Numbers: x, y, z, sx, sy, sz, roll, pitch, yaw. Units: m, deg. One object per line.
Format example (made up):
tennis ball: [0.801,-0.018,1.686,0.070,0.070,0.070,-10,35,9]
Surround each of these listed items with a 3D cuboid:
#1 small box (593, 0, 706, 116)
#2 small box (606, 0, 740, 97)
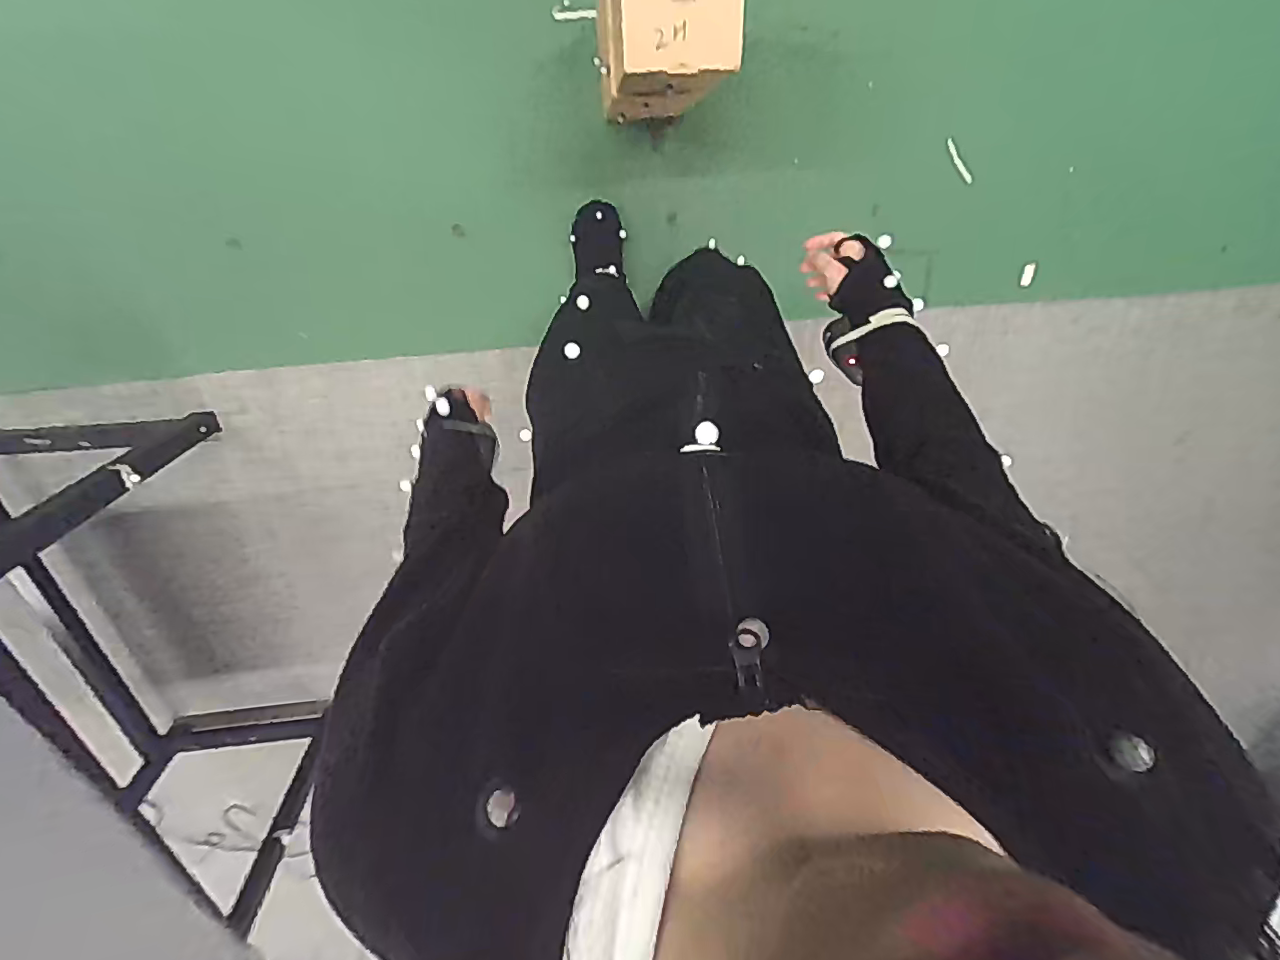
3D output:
small box: [0.013,-0.738,0.918,0.168,0.176,0.179,-7,118,-5]
small box: [0.040,-0.667,0.771,0.168,0.176,0.179,-5,118,-5]
